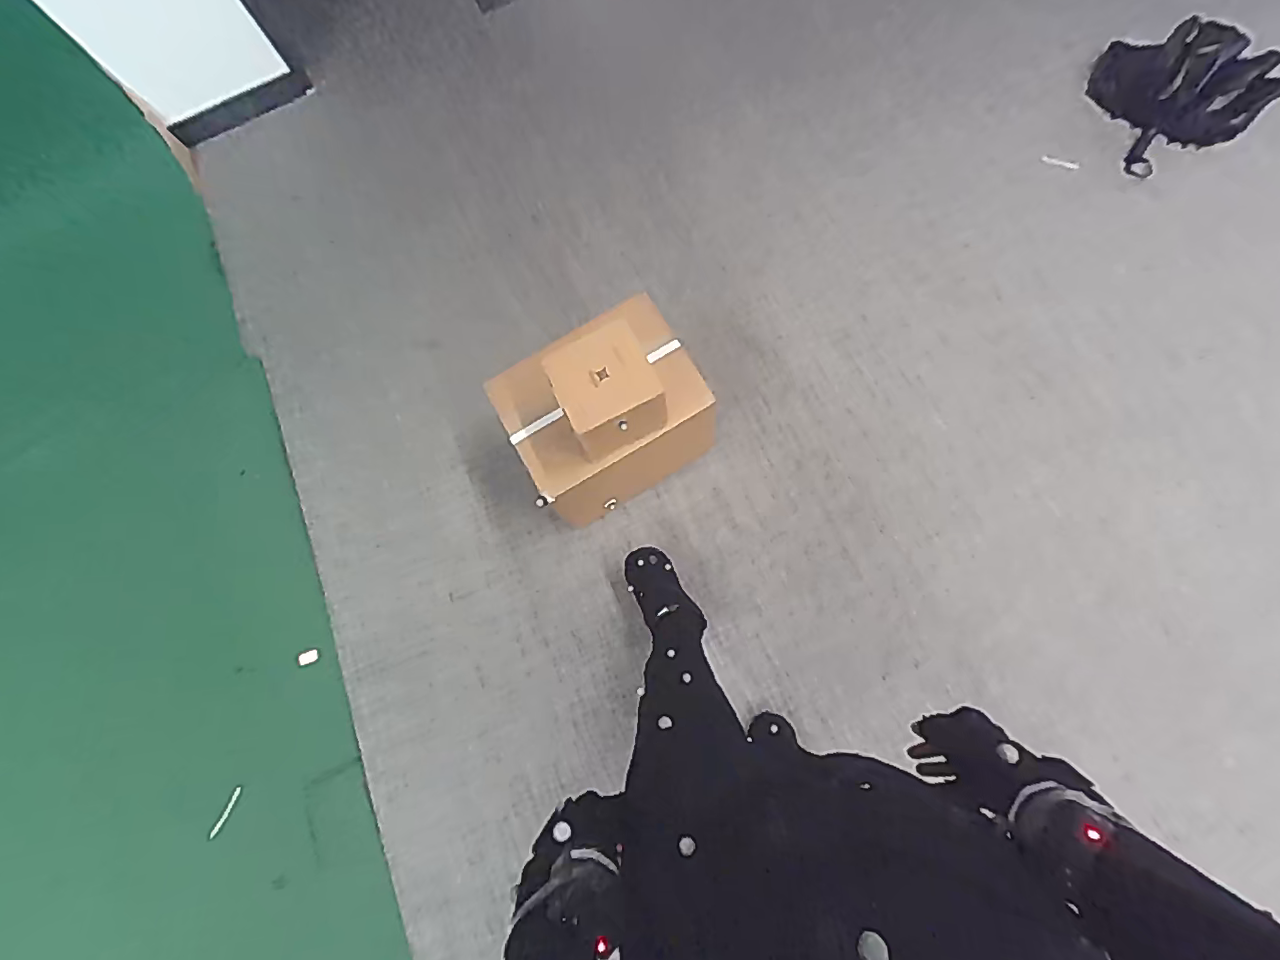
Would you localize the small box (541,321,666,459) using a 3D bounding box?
[{"bbox_3d":[-0.061,-0.160,1.029,0.179,0.176,0.168,-28,76,-3],"label":"small box"}]
